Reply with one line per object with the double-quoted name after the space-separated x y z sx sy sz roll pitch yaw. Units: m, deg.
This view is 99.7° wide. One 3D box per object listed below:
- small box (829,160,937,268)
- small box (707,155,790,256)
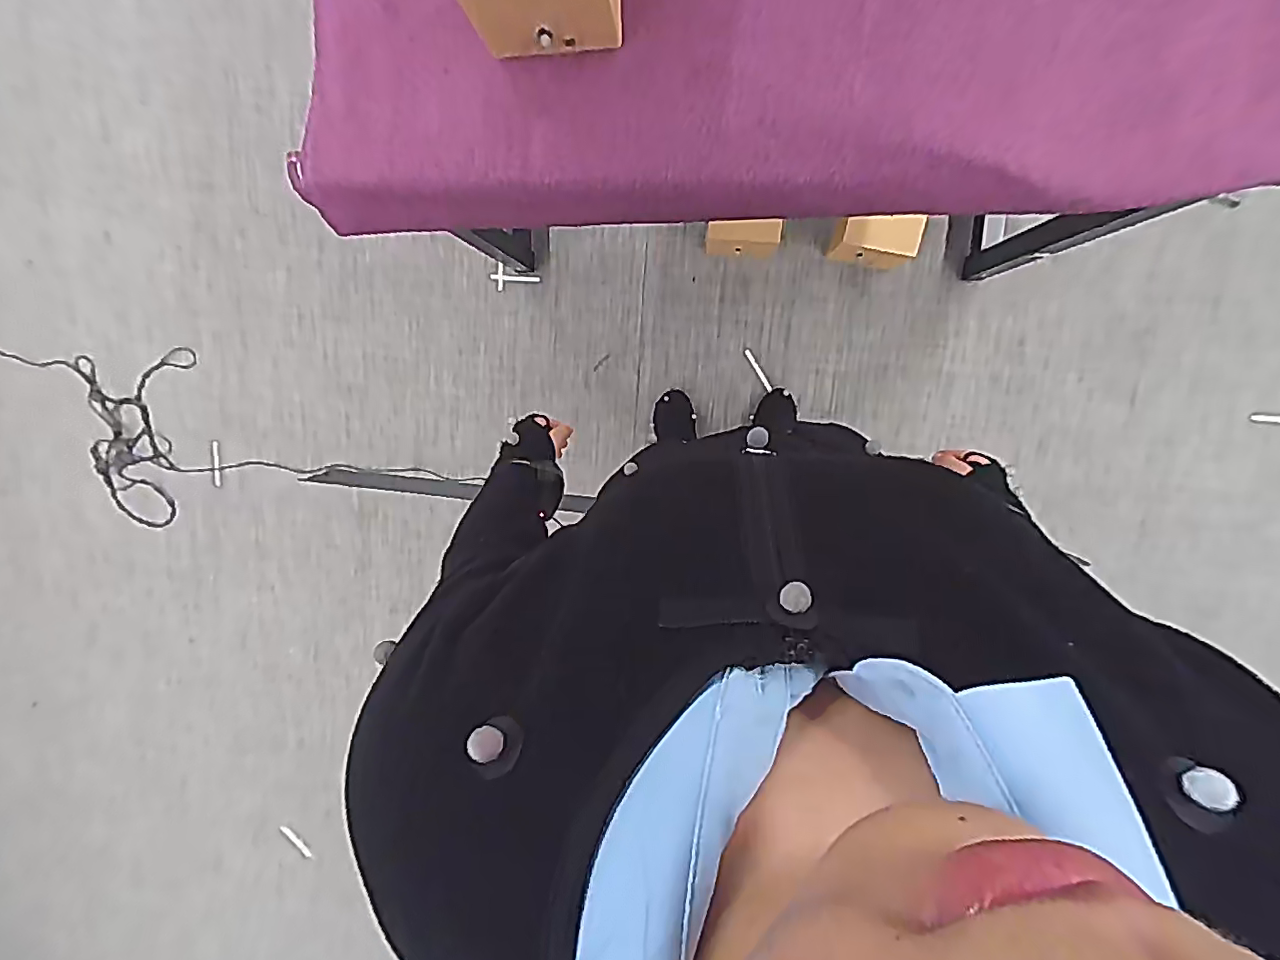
0.556 -0.611 1.265 0.168 0.176 0.179 13 101 4 "small box"
0.250 -0.644 1.288 0.168 0.176 0.179 6 100 4 "small box"
